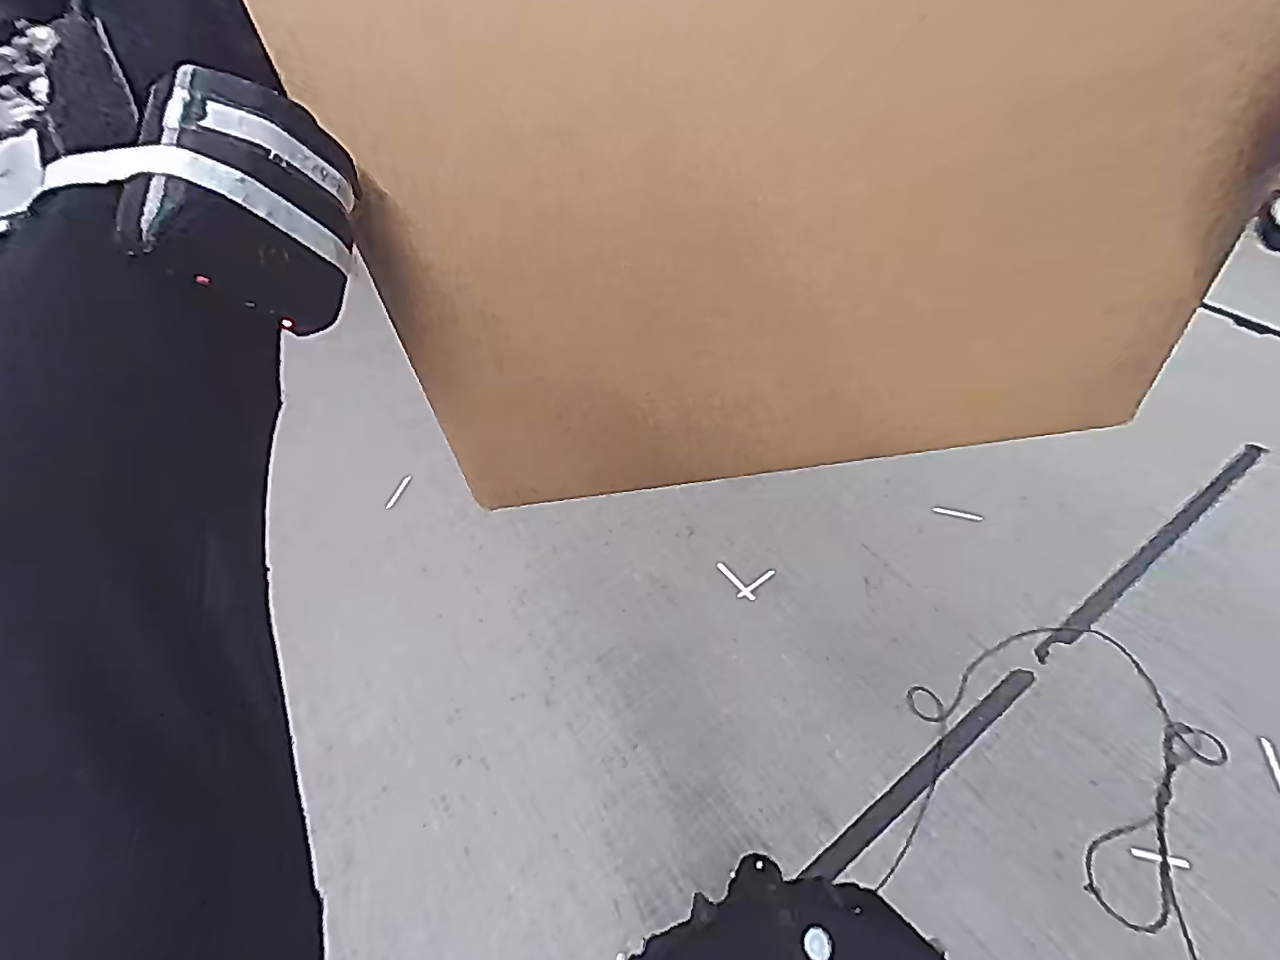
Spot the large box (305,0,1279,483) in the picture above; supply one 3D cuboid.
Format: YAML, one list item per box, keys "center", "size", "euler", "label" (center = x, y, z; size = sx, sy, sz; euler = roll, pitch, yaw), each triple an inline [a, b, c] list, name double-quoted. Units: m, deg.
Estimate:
- center: [0.074, -0.227, 0.351]
  size: [0.408, 0.320, 0.320]
  euler: [-7, 42, 1]
  label: "large box"
